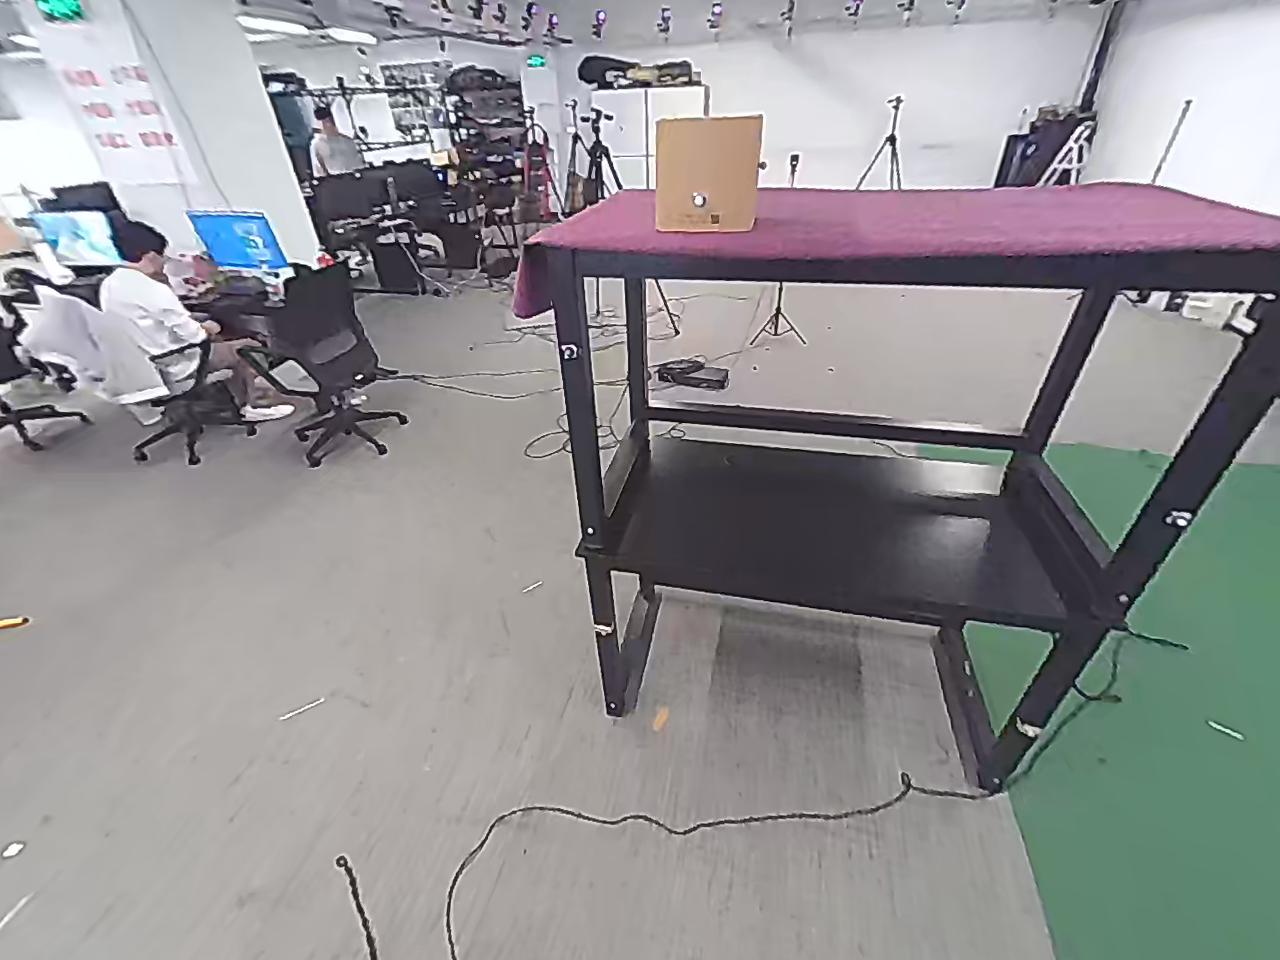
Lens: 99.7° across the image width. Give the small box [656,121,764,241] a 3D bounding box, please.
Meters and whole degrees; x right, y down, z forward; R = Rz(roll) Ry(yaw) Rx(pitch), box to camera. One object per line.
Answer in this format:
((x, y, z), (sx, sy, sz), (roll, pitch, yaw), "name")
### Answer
((0.124, -0.530, 0.953), (0.168, 0.176, 0.179), (5, 35, 12), "small box")
